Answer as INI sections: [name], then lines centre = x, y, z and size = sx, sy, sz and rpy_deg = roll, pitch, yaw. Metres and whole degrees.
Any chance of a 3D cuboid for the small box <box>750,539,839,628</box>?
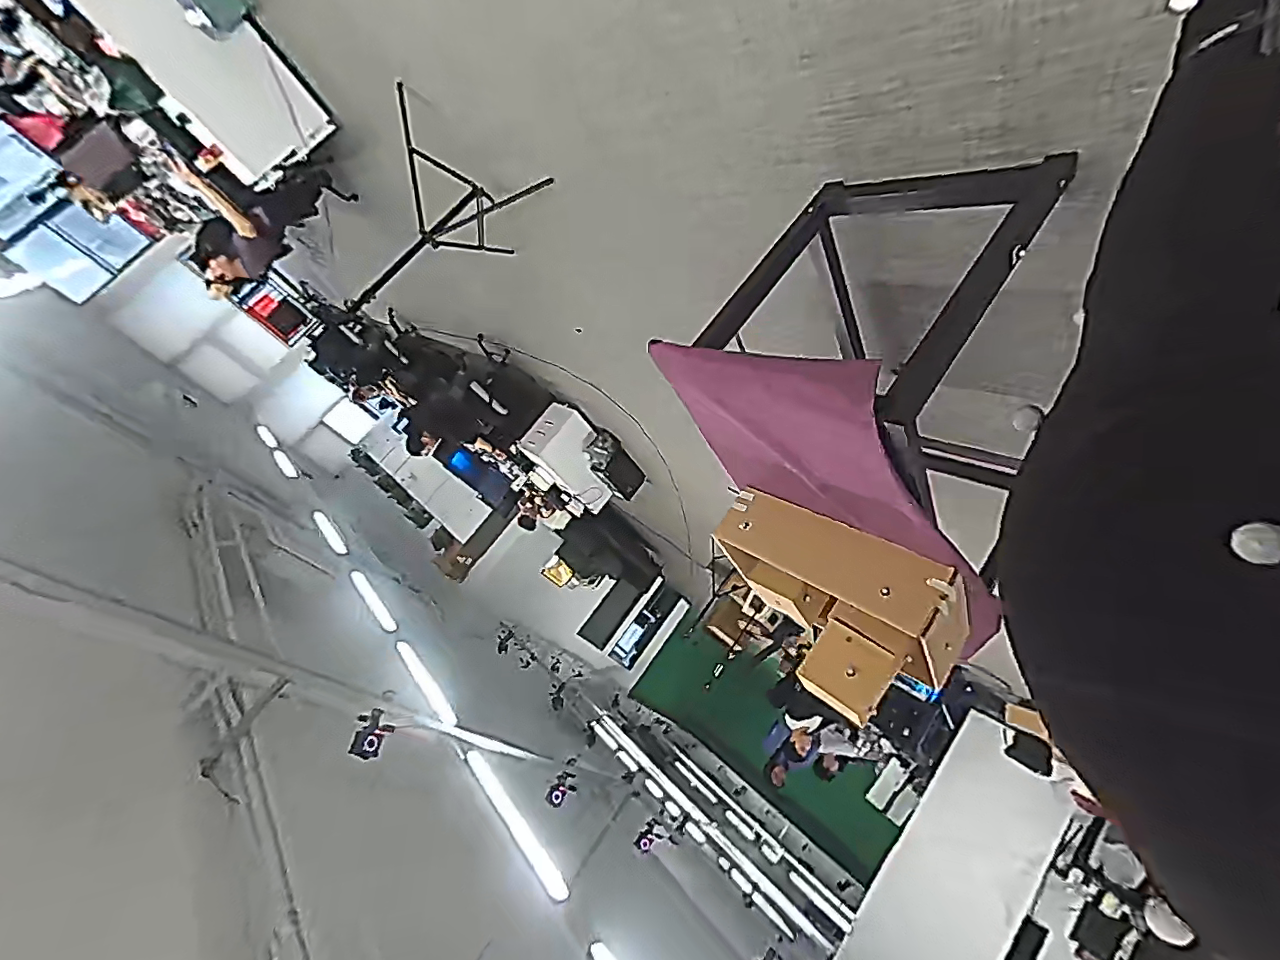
[small box]
centre = 0.462, 0.301, 1.606
size = 0.168, 0.176, 0.179
rpy_deg = 22, 159, 47
